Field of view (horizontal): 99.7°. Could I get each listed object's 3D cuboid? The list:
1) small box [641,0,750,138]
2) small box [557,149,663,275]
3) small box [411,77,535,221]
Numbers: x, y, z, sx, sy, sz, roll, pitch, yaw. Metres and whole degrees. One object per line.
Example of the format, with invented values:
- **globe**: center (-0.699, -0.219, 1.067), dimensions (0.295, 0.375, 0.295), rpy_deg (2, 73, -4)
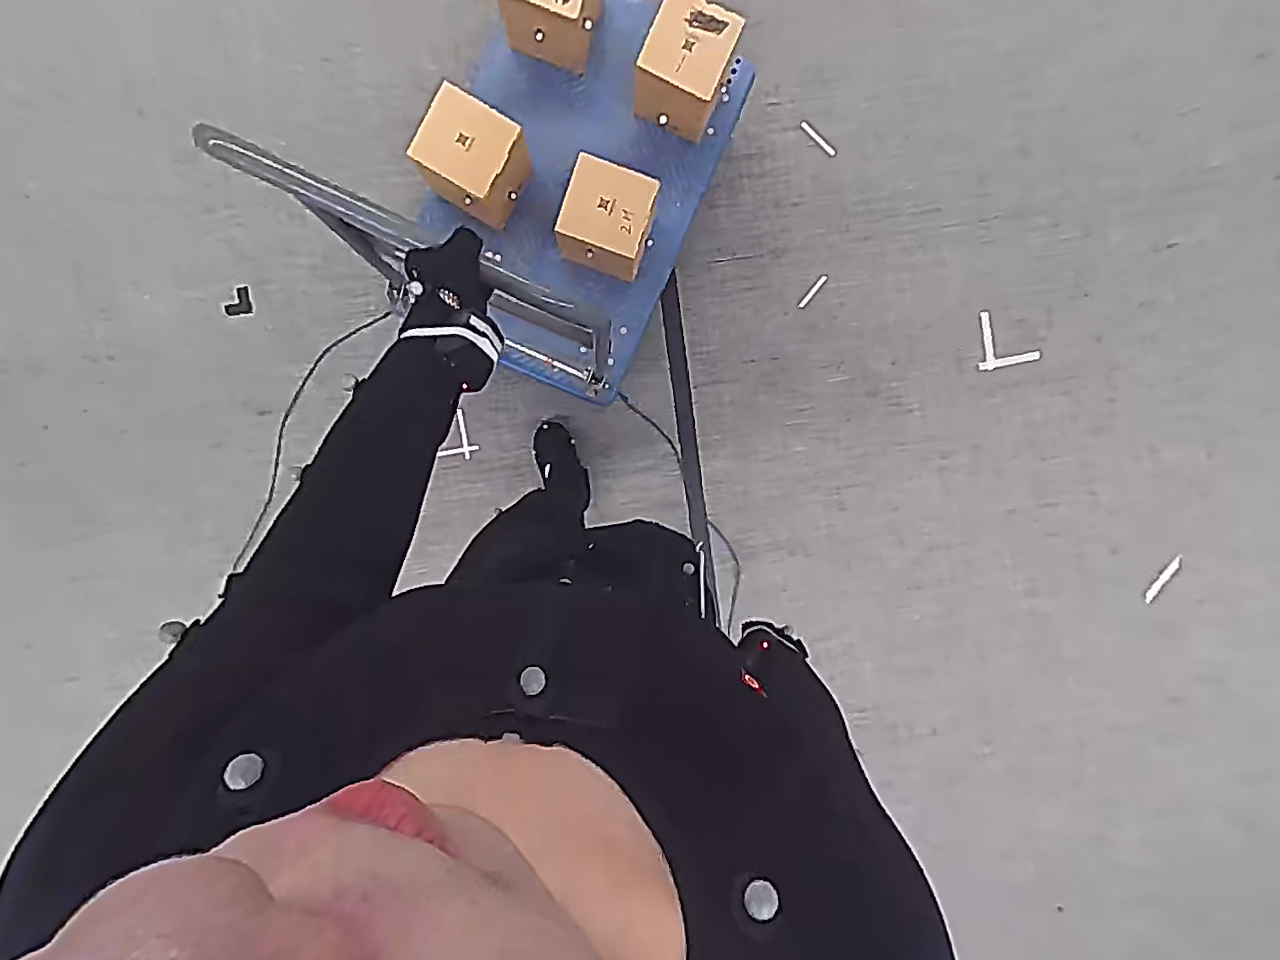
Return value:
- **small box**: center (0.107, -0.882, 1.148), dimensions (0.168, 0.176, 0.179), rpy_deg (25, 95, -4)
- **small box**: center (-0.062, -0.566, 1.170), dimensions (0.179, 0.176, 0.168), rpy_deg (20, 94, -3)
- **small box**: center (-0.345, -0.687, 1.150), dimensions (0.179, 0.176, 0.168), rpy_deg (29, 93, -6)
